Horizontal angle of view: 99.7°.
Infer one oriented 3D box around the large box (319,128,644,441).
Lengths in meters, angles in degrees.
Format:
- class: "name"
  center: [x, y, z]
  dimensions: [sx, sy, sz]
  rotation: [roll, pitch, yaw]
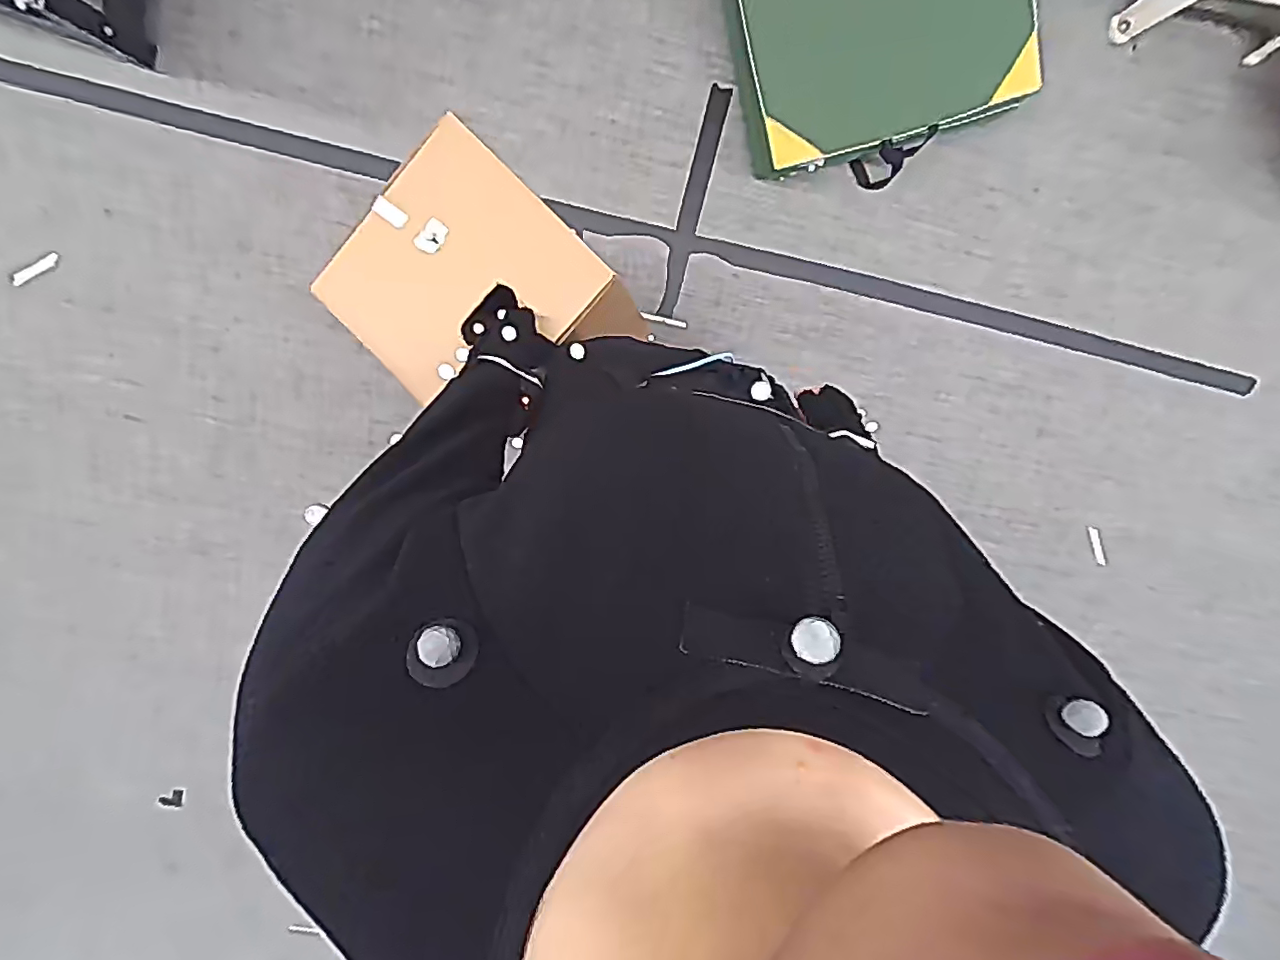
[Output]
- class: "large box"
  center: [-0.229, -0.288, 0.931]
  dimensions: [0.320, 0.408, 0.320]
  rotation: [-44, 89, 10]
